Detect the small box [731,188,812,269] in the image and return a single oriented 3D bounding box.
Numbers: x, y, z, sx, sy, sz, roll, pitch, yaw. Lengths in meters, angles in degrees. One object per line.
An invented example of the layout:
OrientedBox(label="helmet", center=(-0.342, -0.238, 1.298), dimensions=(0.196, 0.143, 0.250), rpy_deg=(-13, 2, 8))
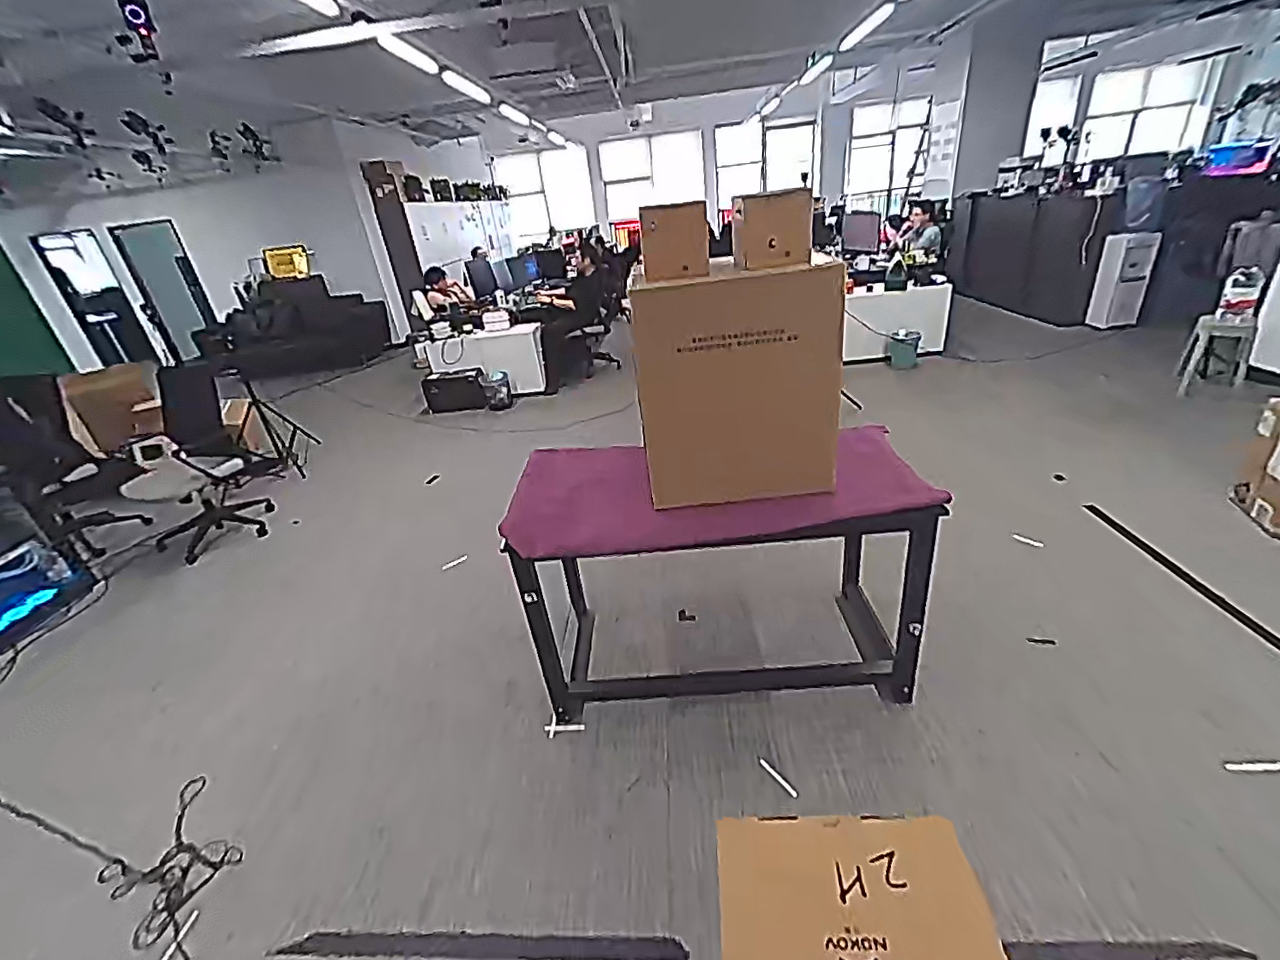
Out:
OrientedBox(label="small box", center=(0.331, -0.644, 1.386), dimensions=(0.168, 0.176, 0.179), rpy_deg=(-8, 28, 2))

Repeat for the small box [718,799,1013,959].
OrientedBox(label="small box", center=(0.143, 0.347, 0.358), dimensions=(0.168, 0.176, 0.179), rpy_deg=(-5, 27, 8))
